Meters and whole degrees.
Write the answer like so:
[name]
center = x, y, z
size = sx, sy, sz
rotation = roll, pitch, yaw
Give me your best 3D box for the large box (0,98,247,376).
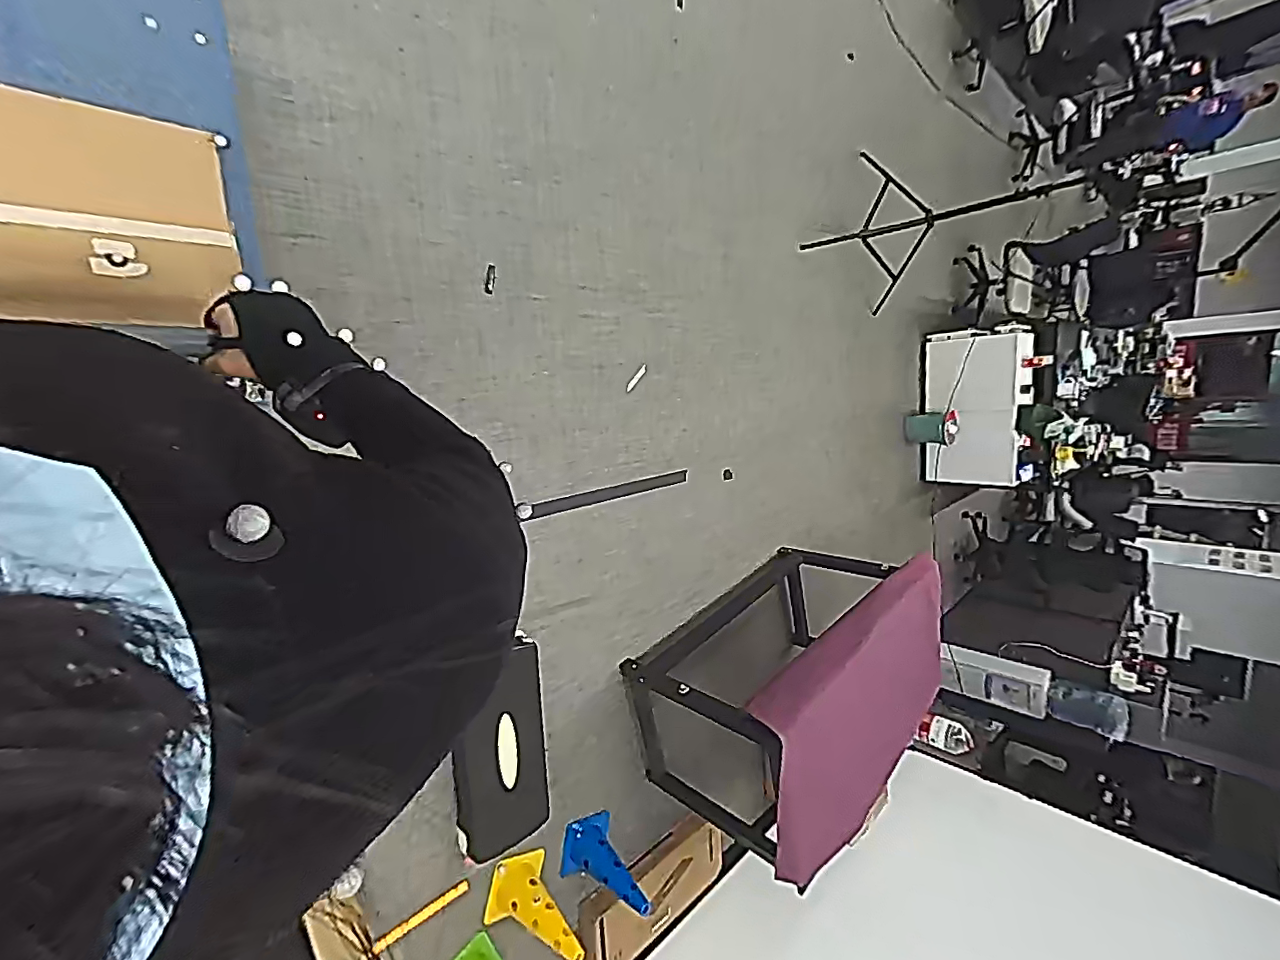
[large box]
center = -0.871, -0.326, 0.798
size = 0.408, 0.320, 0.320
rotation = -11, 101, -43
